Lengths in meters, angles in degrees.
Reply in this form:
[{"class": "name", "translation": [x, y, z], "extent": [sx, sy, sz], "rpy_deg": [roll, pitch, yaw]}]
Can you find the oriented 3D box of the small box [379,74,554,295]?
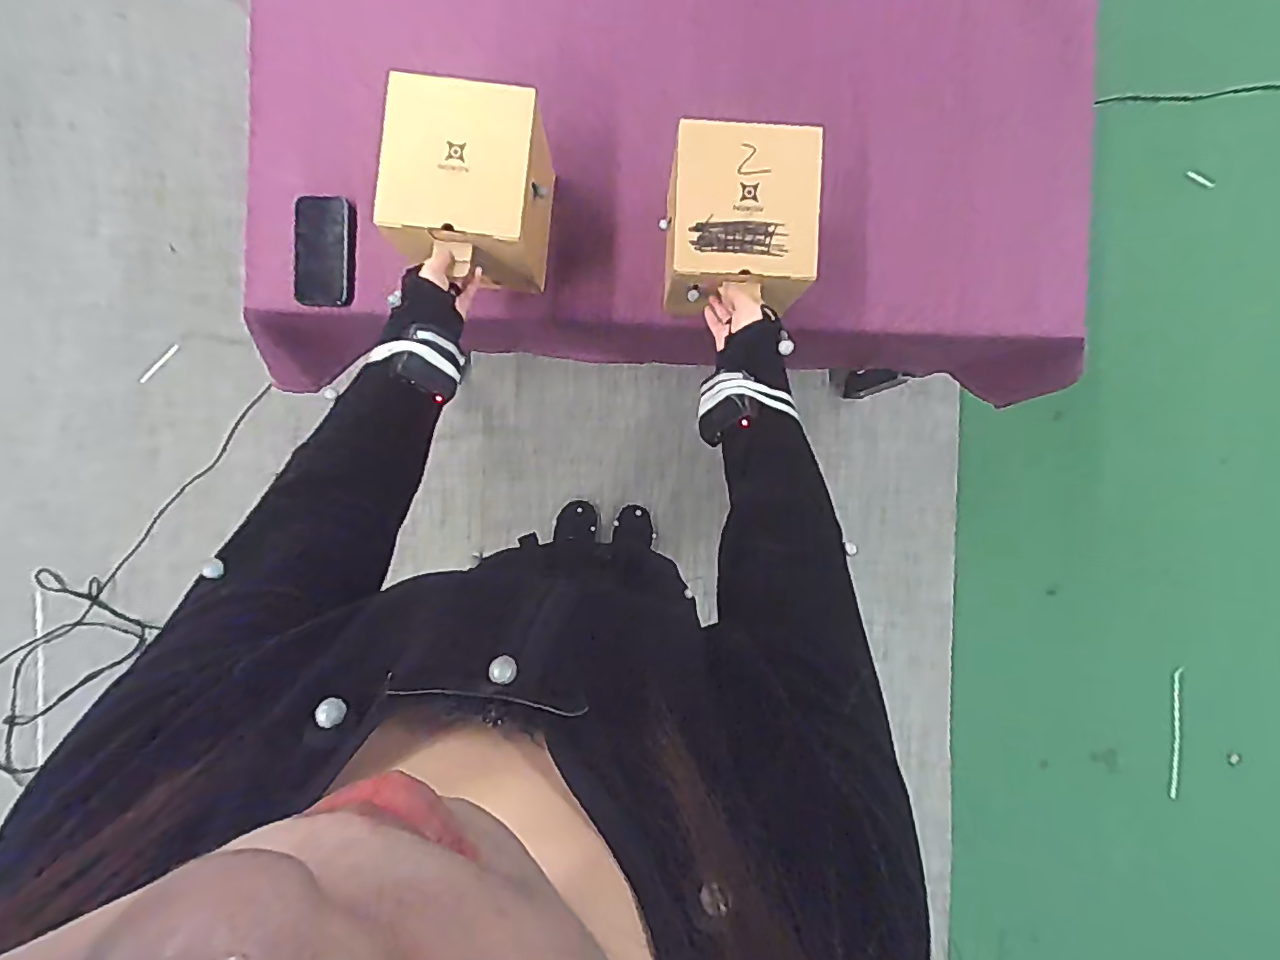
[{"class": "small box", "translation": [-0.205, -0.358, 0.685], "extent": [0.168, 0.176, 0.179], "rpy_deg": [6, 89, -3]}]
